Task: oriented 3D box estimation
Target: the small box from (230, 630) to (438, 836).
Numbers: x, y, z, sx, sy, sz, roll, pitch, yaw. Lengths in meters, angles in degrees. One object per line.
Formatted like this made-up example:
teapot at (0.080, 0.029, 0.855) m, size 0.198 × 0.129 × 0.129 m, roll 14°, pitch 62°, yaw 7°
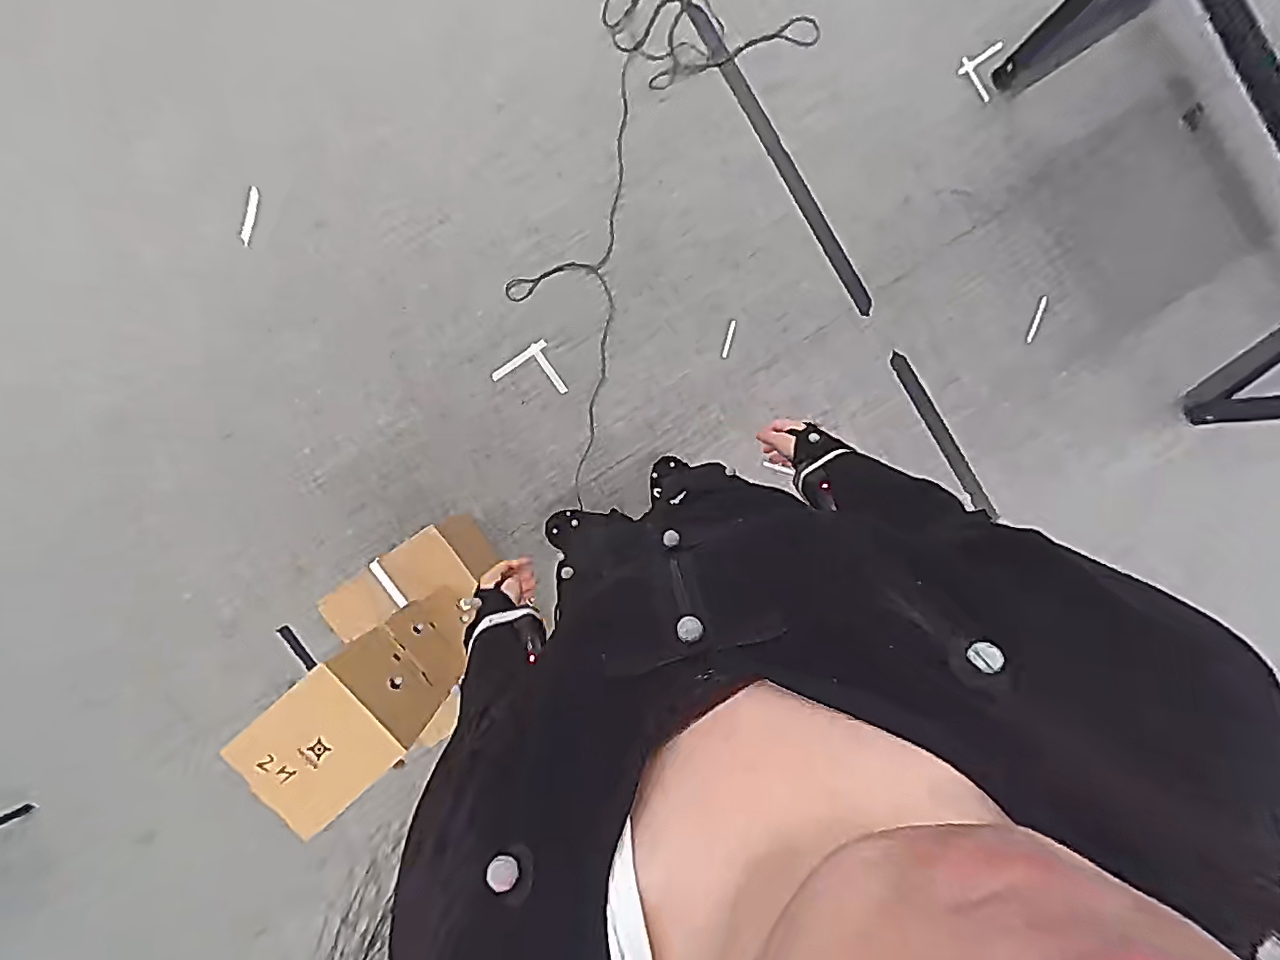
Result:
small box at (-0.418, 0.347, 0.782) m, size 0.179 × 0.176 × 0.168 m, roll -42°, pitch 92°, yaw -2°

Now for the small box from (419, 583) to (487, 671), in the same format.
small box at (-0.441, 0.338, 1.108) m, size 0.179 × 0.176 × 0.168 m, roll -36°, pitch 94°, yaw -3°

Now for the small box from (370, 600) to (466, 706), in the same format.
small box at (-0.428, 0.336, 0.946) m, size 0.179 × 0.176 × 0.168 m, roll -38°, pitch 93°, yaw -1°
